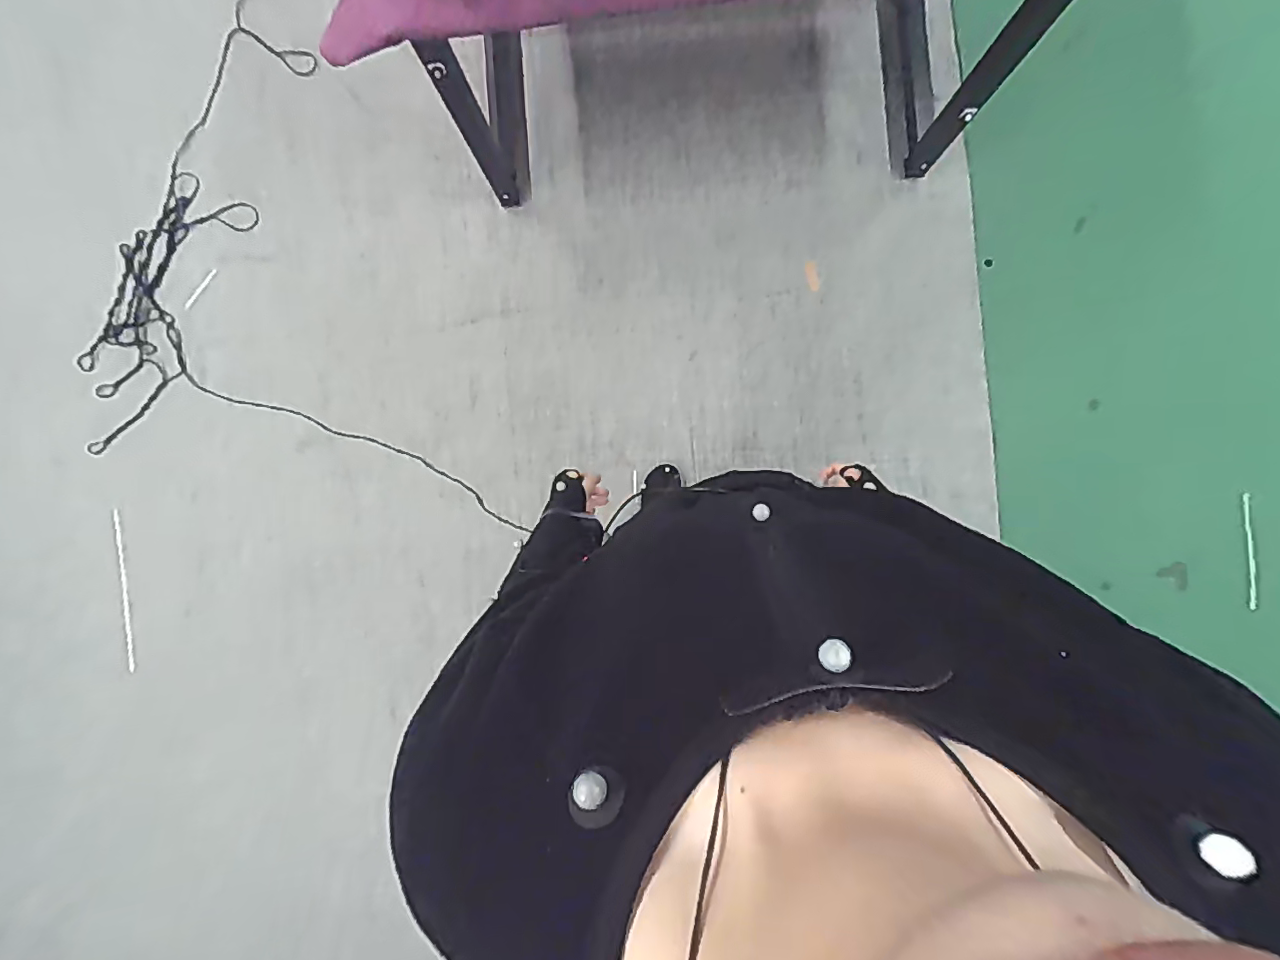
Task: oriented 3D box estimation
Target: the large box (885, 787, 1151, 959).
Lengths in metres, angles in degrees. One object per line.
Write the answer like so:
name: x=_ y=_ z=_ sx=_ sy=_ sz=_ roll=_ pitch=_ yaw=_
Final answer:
large box: x=0.901 y=1.039 z=1.329 sx=0.408 sy=0.320 sz=0.320 roll=-19 pitch=90 yaw=0
